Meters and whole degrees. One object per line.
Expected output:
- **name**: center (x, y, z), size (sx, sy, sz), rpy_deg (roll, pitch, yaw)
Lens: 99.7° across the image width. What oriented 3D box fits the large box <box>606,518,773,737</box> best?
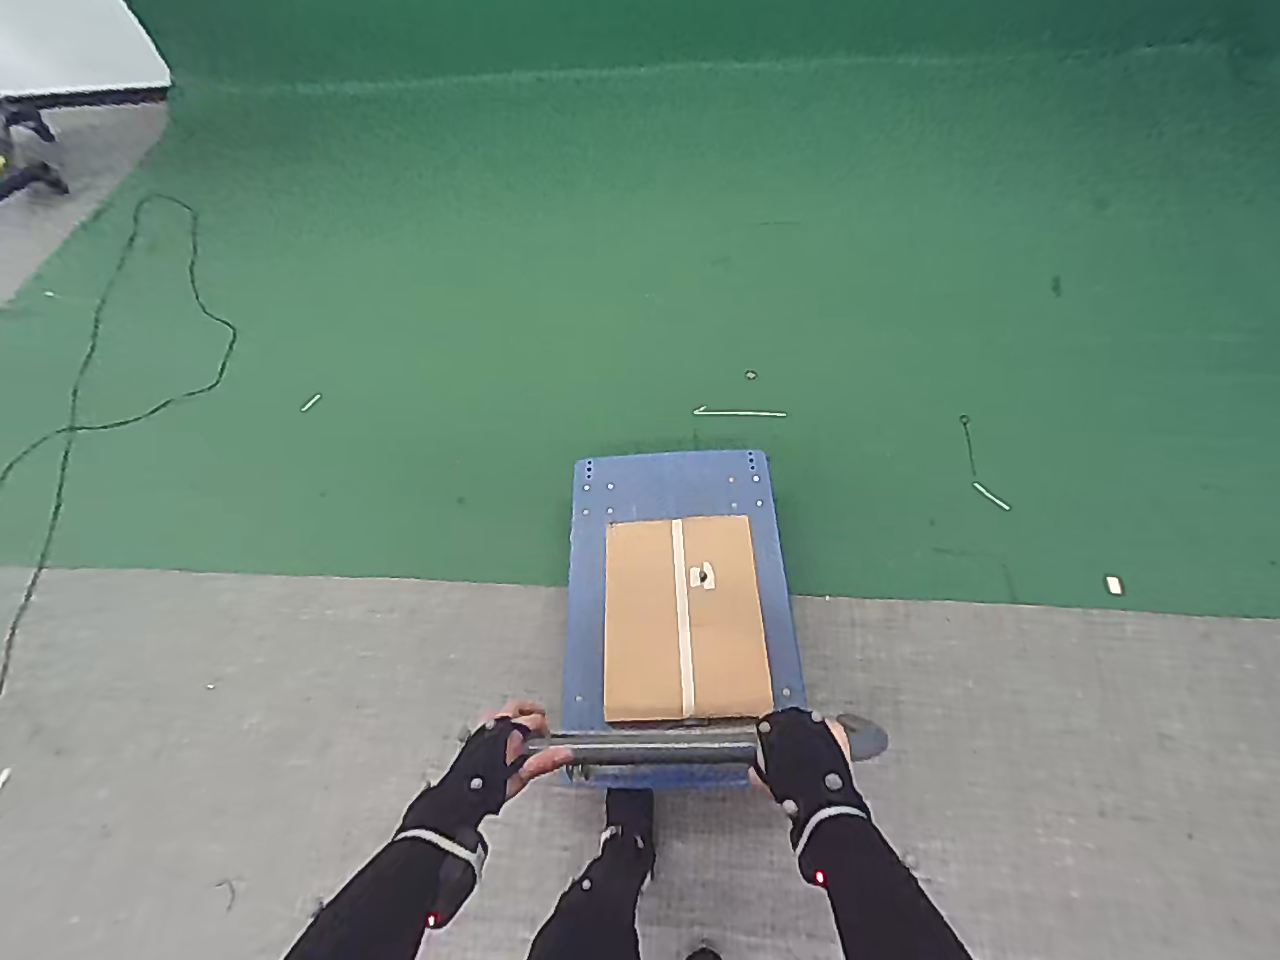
- **large box**: center (0.101, 0.341, 1.222), size (0.320, 0.320, 0.408), rpy_deg (-4, 59, 4)
